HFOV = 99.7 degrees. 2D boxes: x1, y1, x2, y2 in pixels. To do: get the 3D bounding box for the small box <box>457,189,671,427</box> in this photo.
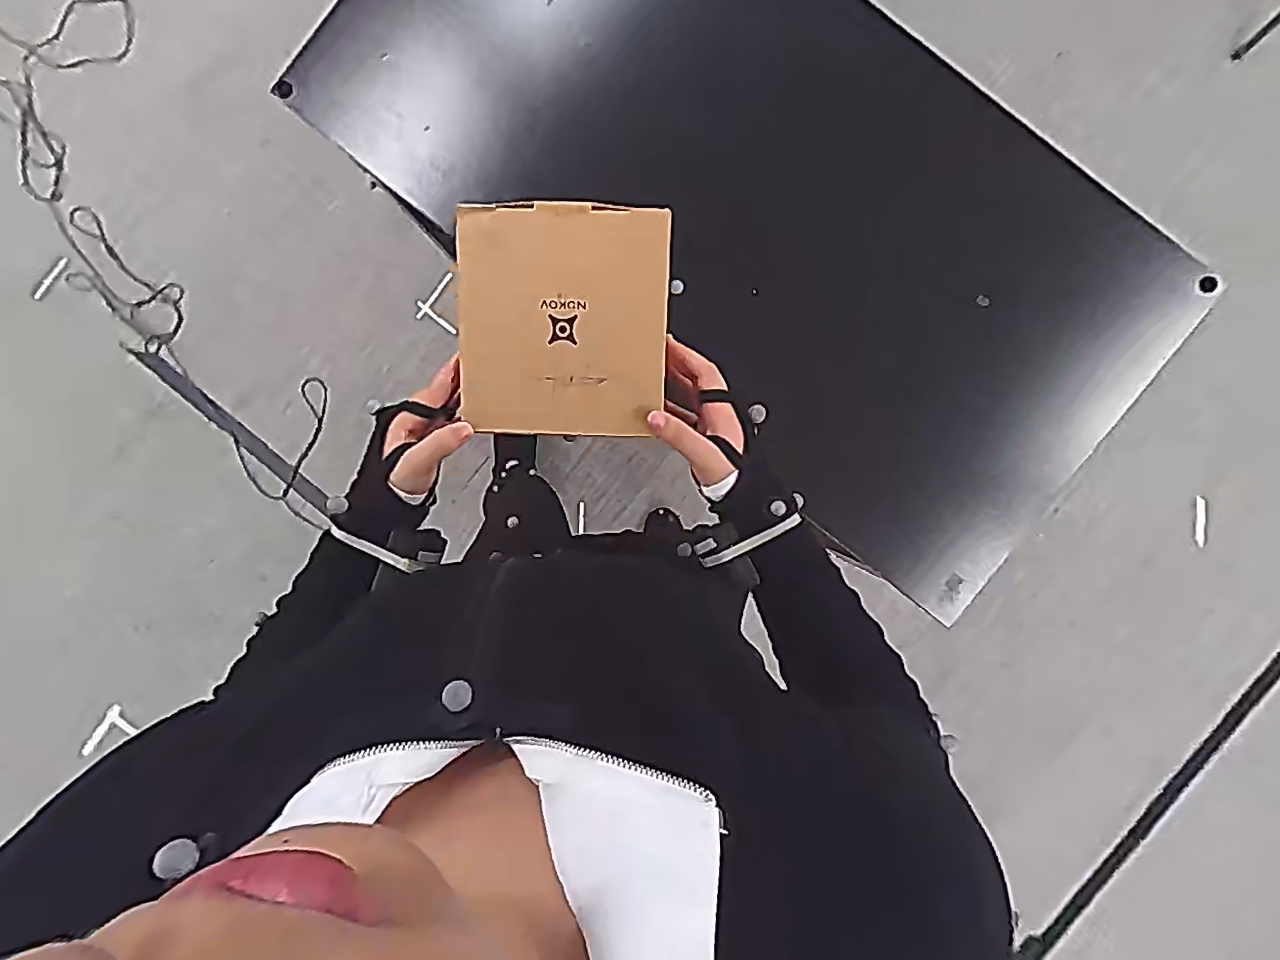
[{"bbox_3d":[-0.061,-0.146,0.503,0.168,0.176,0.179,3,100,1],"label":"small box"}]
